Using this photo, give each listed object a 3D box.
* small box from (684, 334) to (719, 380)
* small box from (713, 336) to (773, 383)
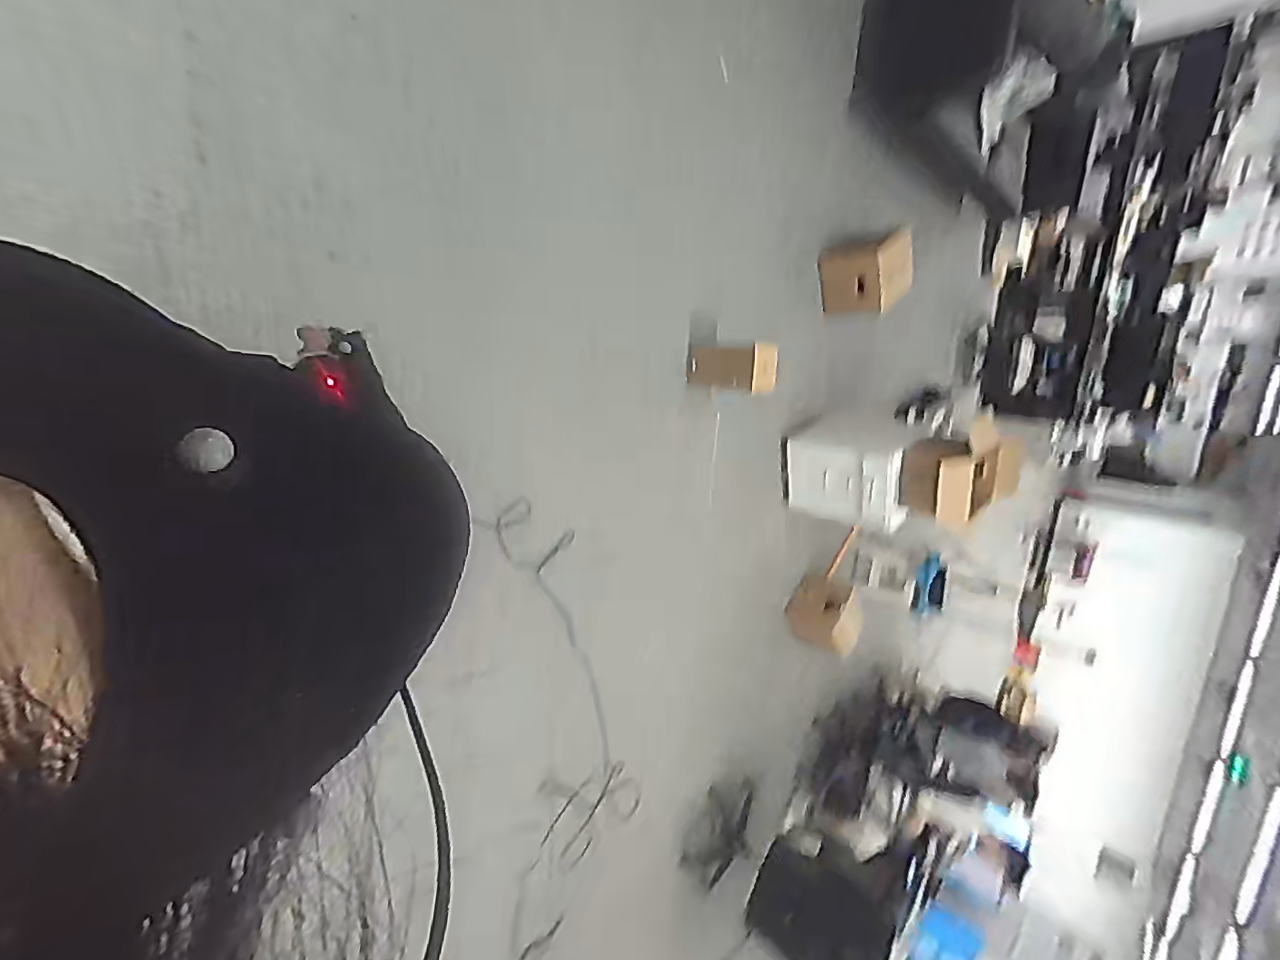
[{"bbox_3d":[0.299,-0.513,2.265,0.168,0.176,0.179,-8,107,-45],"label":"small box"},{"bbox_3d":[0.406,-0.480,2.146,0.168,0.176,0.179,-12,108,-45],"label":"small box"}]
